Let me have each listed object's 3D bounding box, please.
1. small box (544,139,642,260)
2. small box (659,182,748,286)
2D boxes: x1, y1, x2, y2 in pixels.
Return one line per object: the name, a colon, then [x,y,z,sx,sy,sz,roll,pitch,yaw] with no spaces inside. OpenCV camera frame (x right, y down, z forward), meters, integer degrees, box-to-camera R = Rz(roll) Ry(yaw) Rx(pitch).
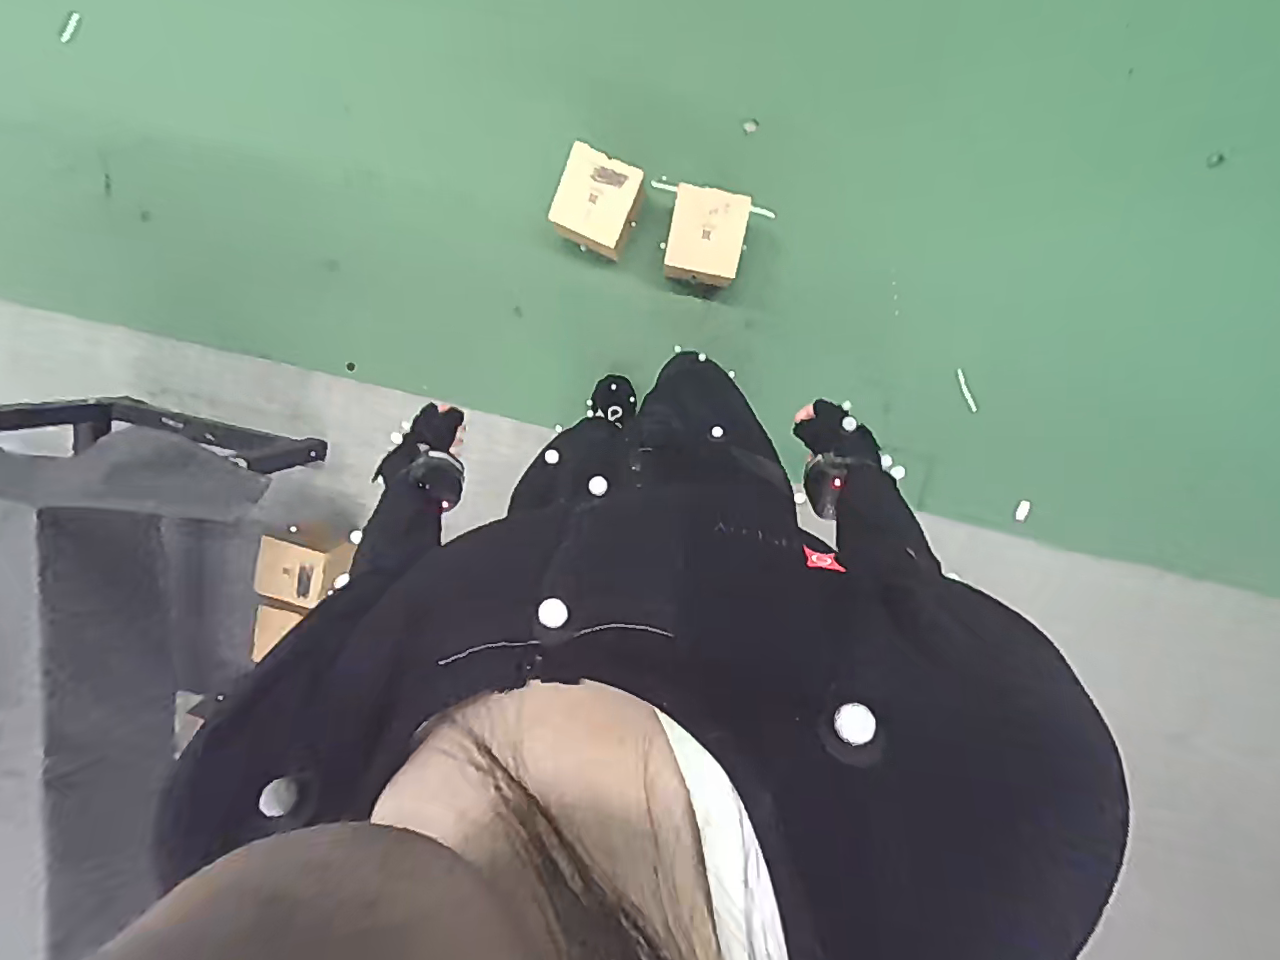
small box: [-0.104,-0.643,1.263,0.168,0.176,0.179,24,102,-3]
small box: [0.143,-0.567,1.272,0.168,0.176,0.179,11,102,-2]
